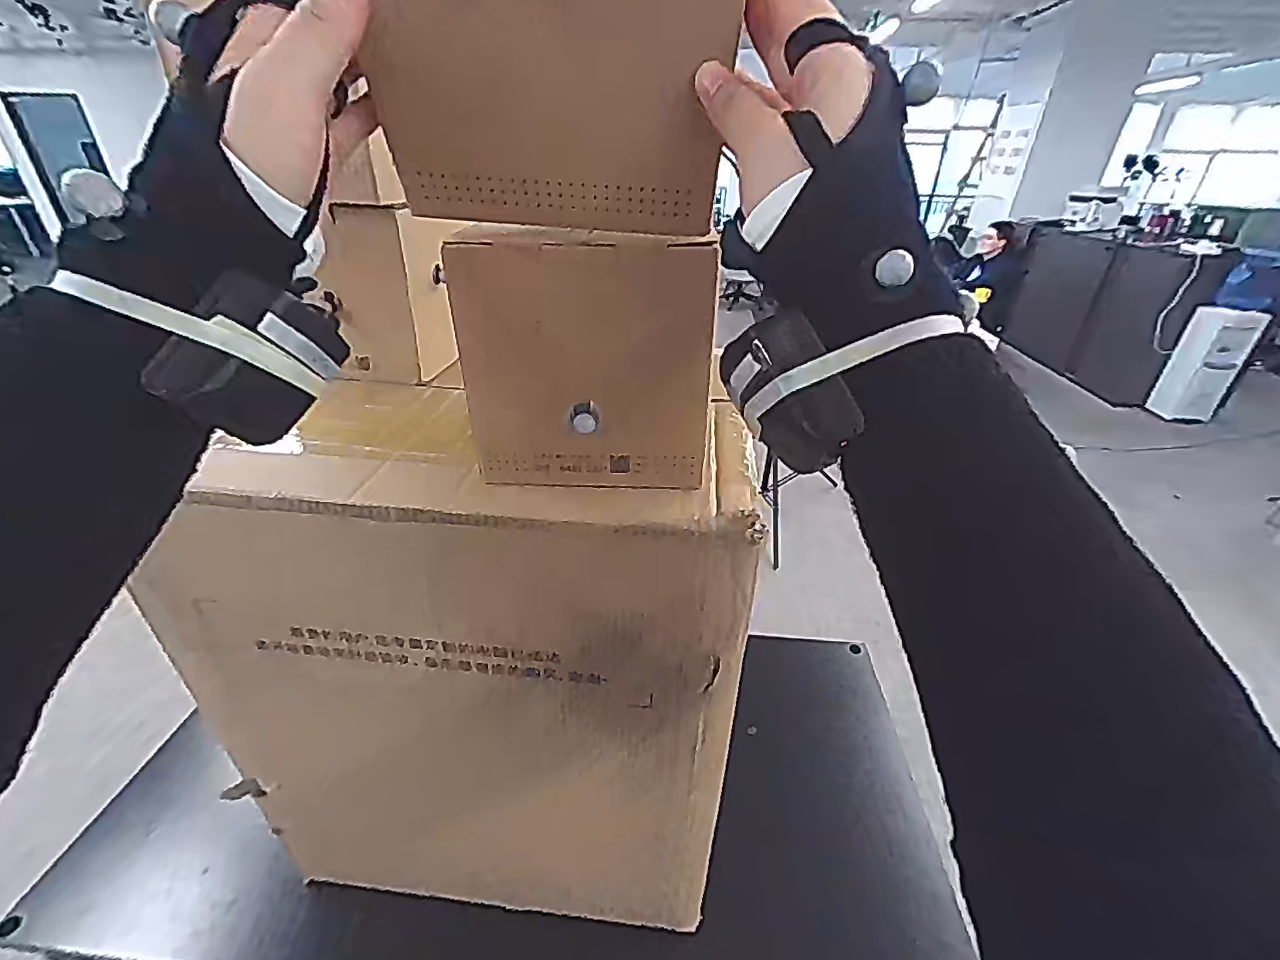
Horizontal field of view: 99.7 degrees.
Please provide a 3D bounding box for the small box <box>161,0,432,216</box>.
[{"bbox_3d":[-0.278,-0.345,0.494,0.168,0.176,0.179,5,31,6],"label":"small box"}]

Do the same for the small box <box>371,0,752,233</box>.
[{"bbox_3d":[-0.032,-0.255,0.287,0.179,0.176,0.168,5,57,1],"label":"small box"}]

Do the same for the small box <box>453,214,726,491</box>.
[{"bbox_3d":[-0.027,-0.108,0.426,0.168,0.176,0.179,1,32,3],"label":"small box"}]

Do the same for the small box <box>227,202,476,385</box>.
[{"bbox_3d":[-0.285,-0.212,0.591,0.168,0.176,0.179,5,31,3],"label":"small box"}]
